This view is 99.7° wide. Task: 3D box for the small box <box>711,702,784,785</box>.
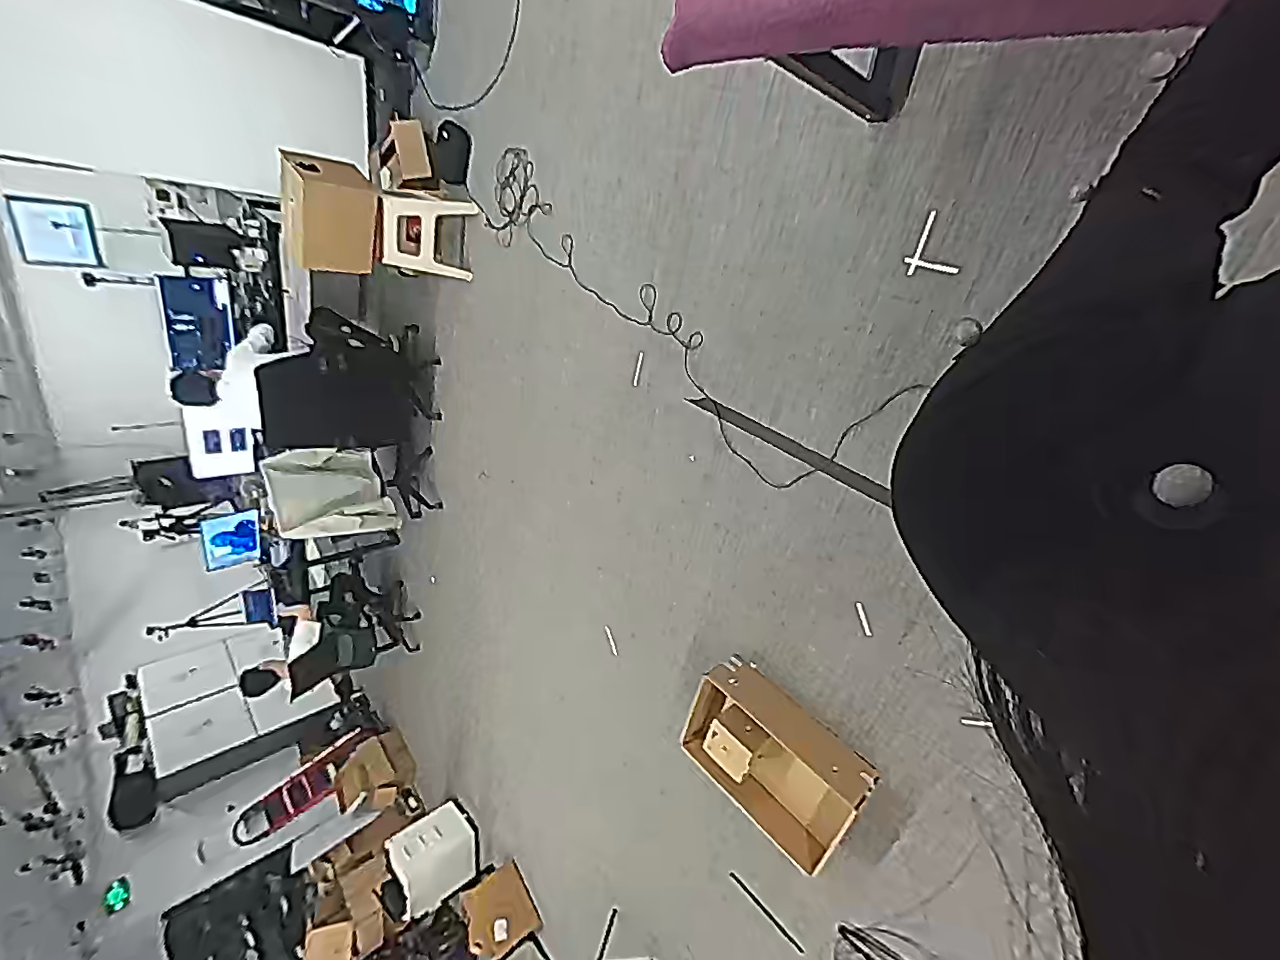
[{"bbox_3d":[0.391,0.940,1.948,0.179,0.176,0.168,33,122,34],"label":"small box"}]
